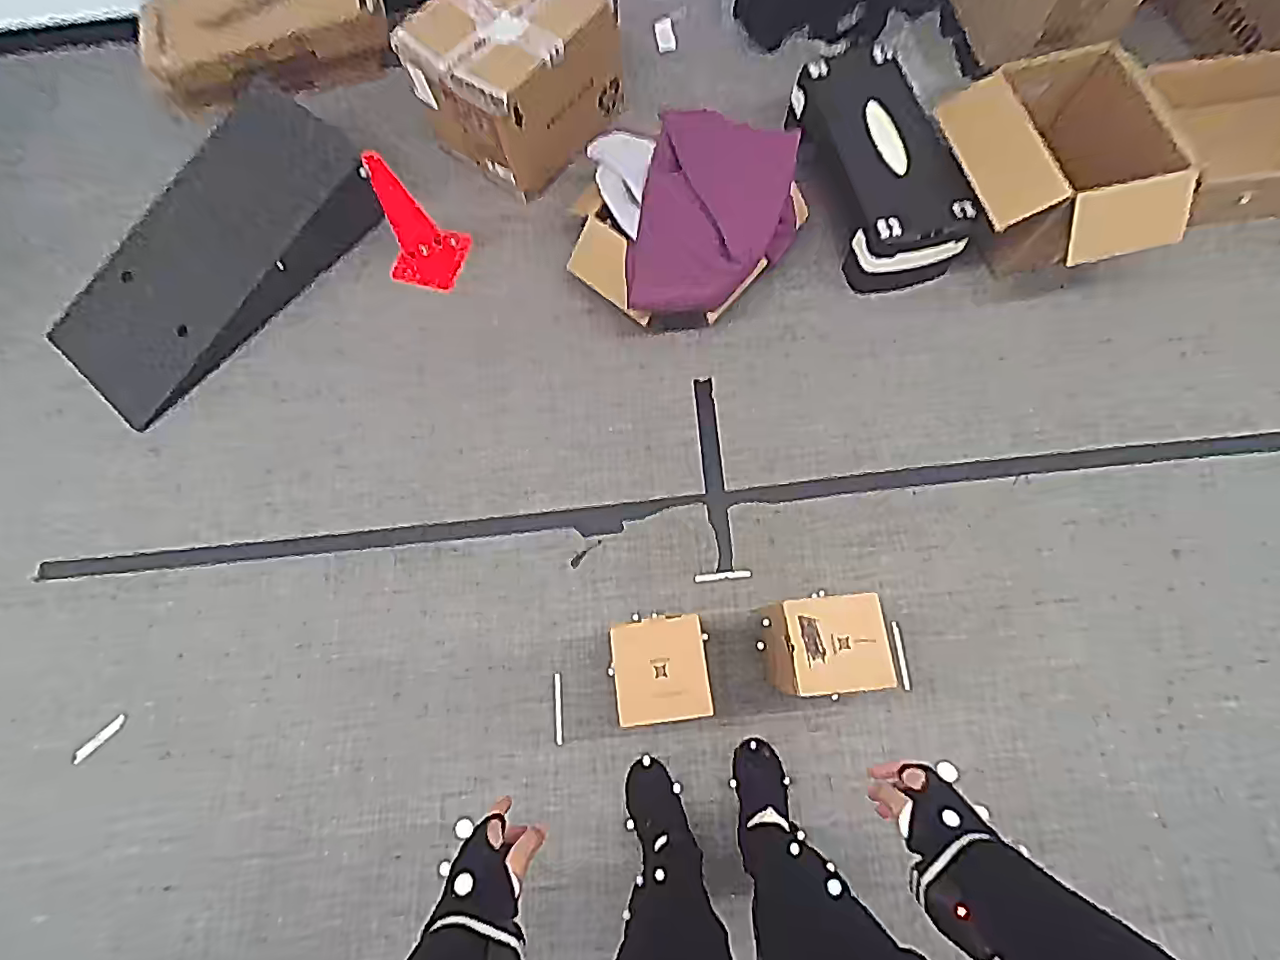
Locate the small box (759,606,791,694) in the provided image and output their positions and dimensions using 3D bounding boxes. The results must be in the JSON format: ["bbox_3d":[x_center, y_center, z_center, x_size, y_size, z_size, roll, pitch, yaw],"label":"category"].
[{"bbox_3d":[0.366,0.365,1.190,0.168,0.176,0.179,-3,74,0],"label":"small box"}]

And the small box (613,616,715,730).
[{"bbox_3d":[0.044,0.362,1.032,0.168,0.176,0.179,-9,74,1],"label":"small box"}]

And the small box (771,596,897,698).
[{"bbox_3d":[0.355,0.318,1.032,0.179,0.176,0.168,-5,73,0],"label":"small box"}]
